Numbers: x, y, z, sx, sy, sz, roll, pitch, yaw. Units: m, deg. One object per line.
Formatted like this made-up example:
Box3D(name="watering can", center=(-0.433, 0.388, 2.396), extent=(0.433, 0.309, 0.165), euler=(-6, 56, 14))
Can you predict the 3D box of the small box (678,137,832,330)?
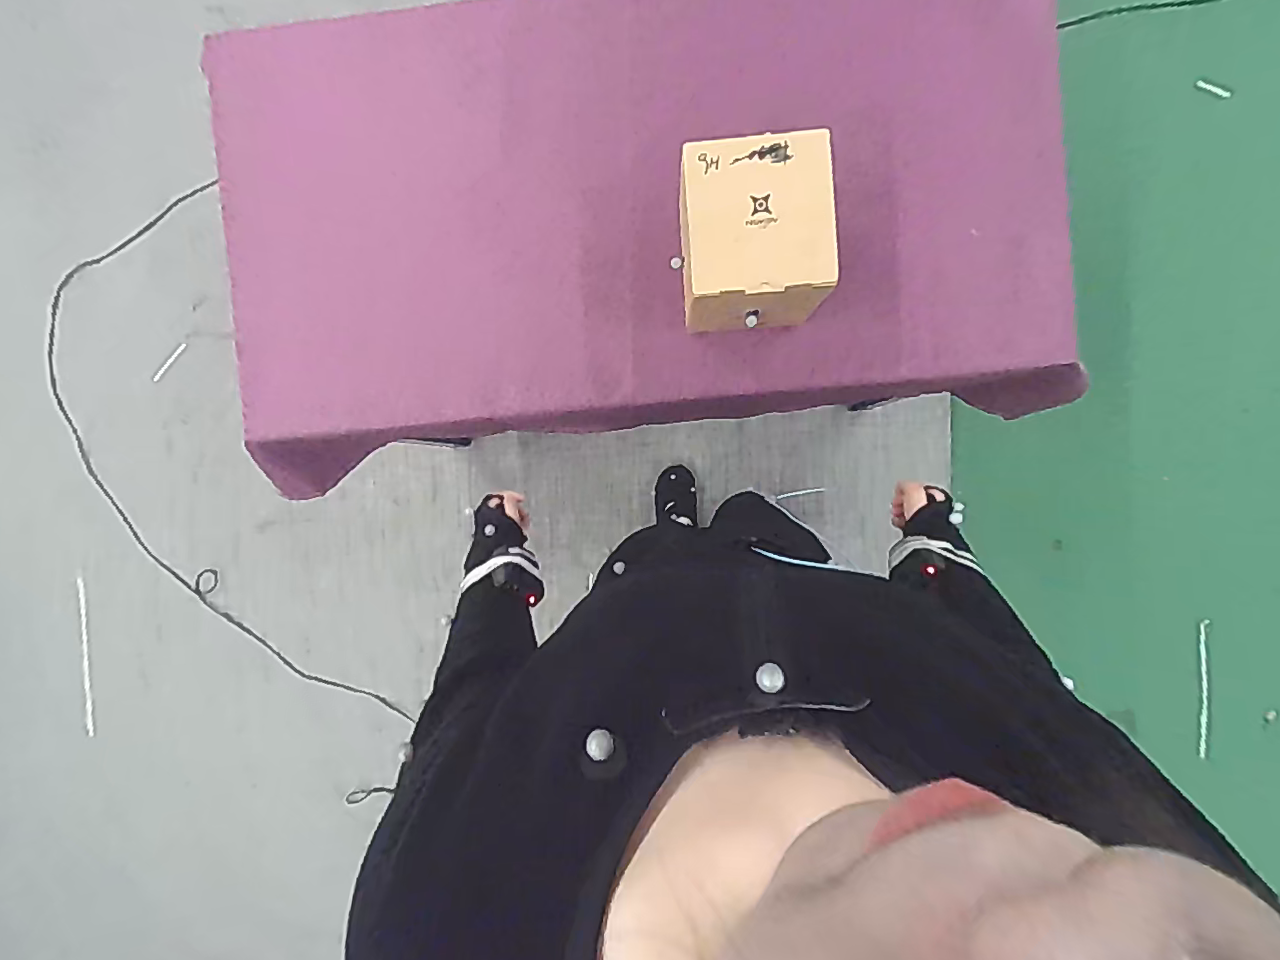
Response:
Box3D(name="small box", center=(0.136, -0.296, 0.691), extent=(0.168, 0.176, 0.179), euler=(-3, 92, 2))
